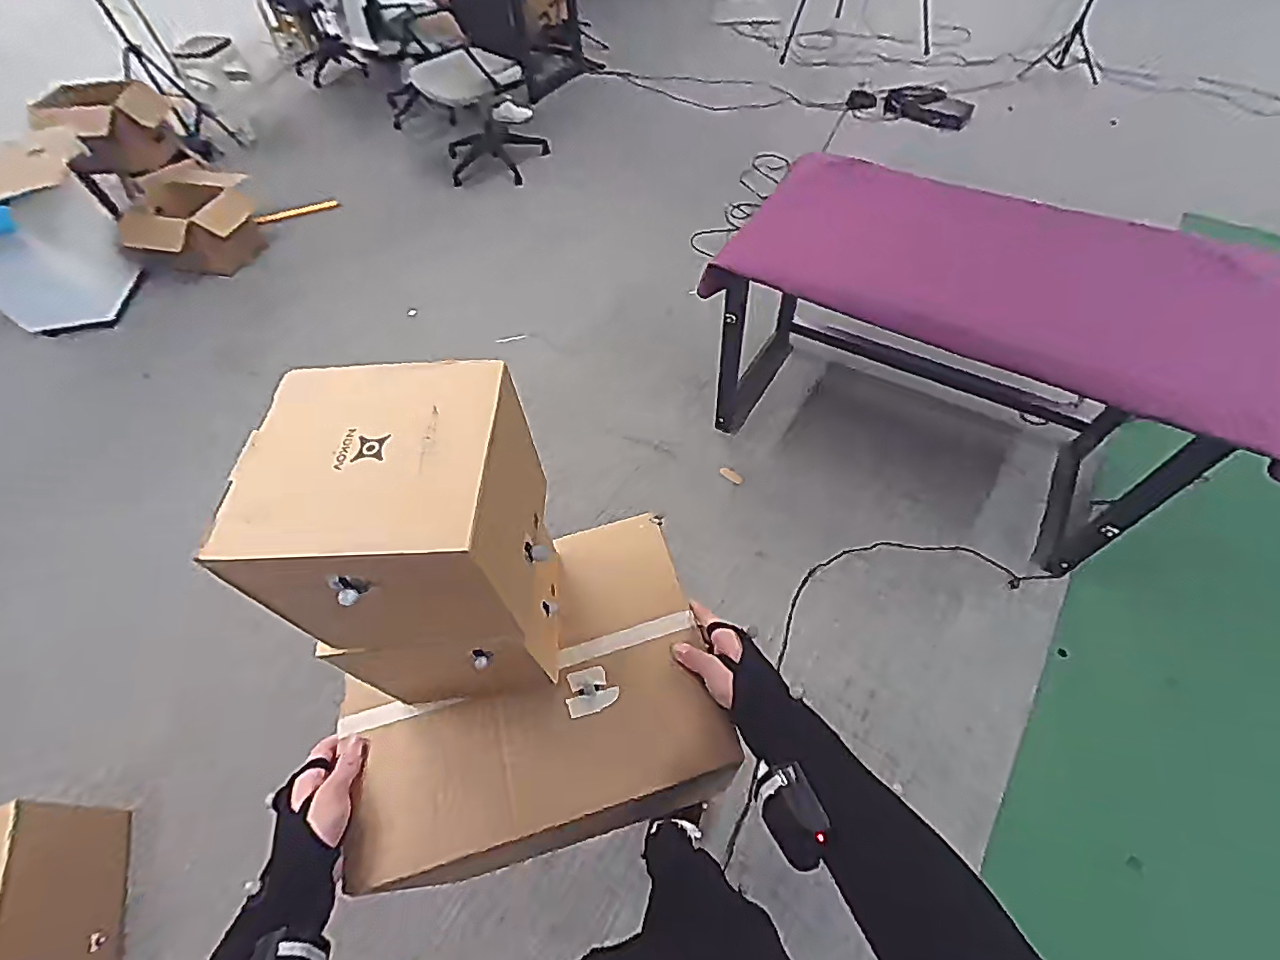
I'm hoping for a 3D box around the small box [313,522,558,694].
[{"bbox_3d":[-0.190,0.114,0.564,0.179,0.176,0.168,-6,54,0],"label":"small box"}]

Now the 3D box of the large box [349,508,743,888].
[{"bbox_3d":[-0.117,0.293,0.730,0.408,0.320,0.320,-15,57,-7],"label":"large box"}]

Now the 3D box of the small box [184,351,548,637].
[{"bbox_3d":[-0.184,0.019,0.431,0.179,0.176,0.168,-2,55,3],"label":"small box"}]
